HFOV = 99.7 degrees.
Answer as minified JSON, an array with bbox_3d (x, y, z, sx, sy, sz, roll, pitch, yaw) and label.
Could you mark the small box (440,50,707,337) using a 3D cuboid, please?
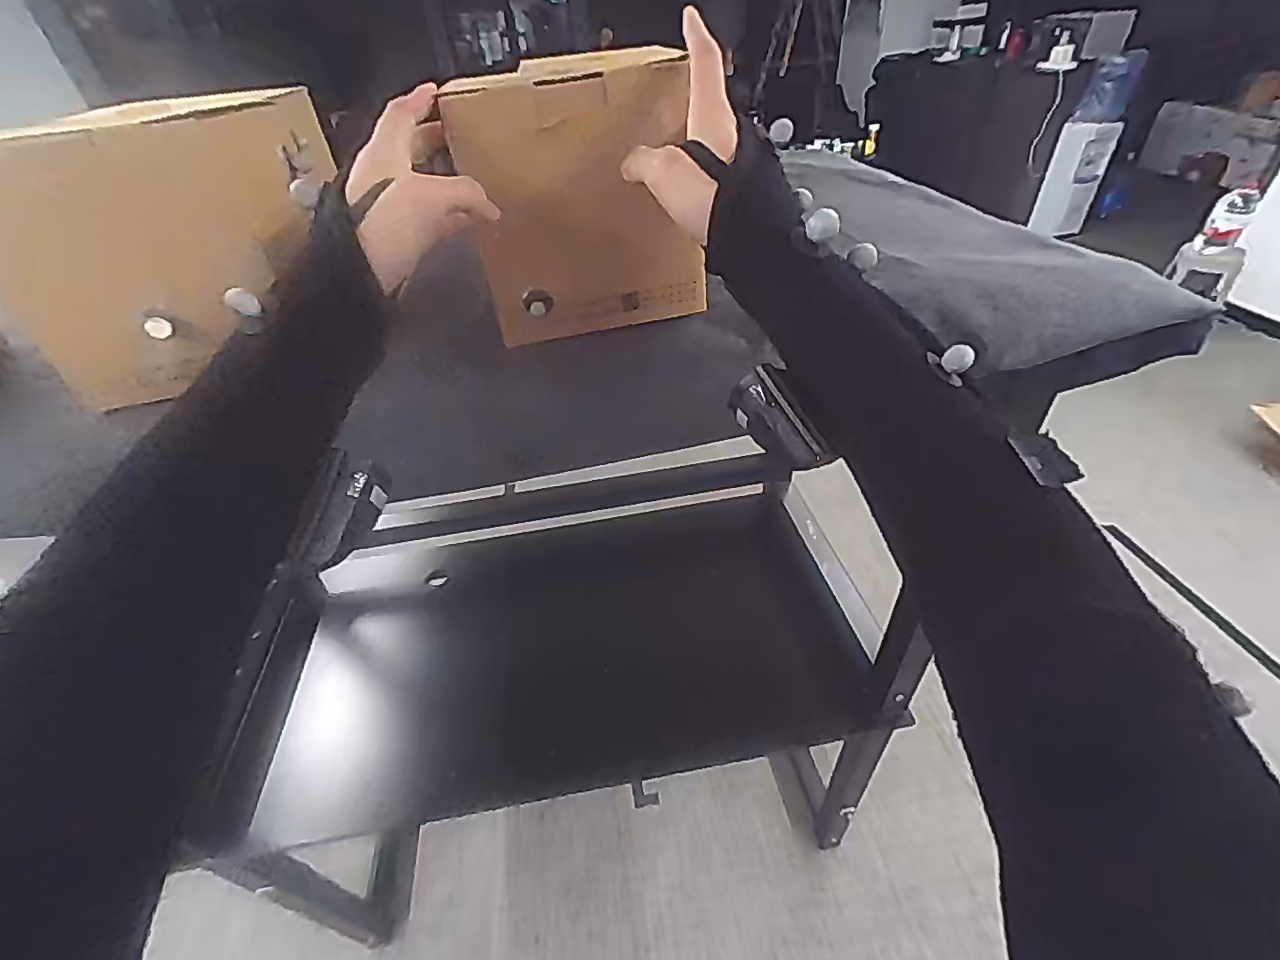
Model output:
[{"bbox_3d":[-0.046,-0.229,0.441,0.168,0.176,0.179,-11,40,-4],"label":"small box"}]
